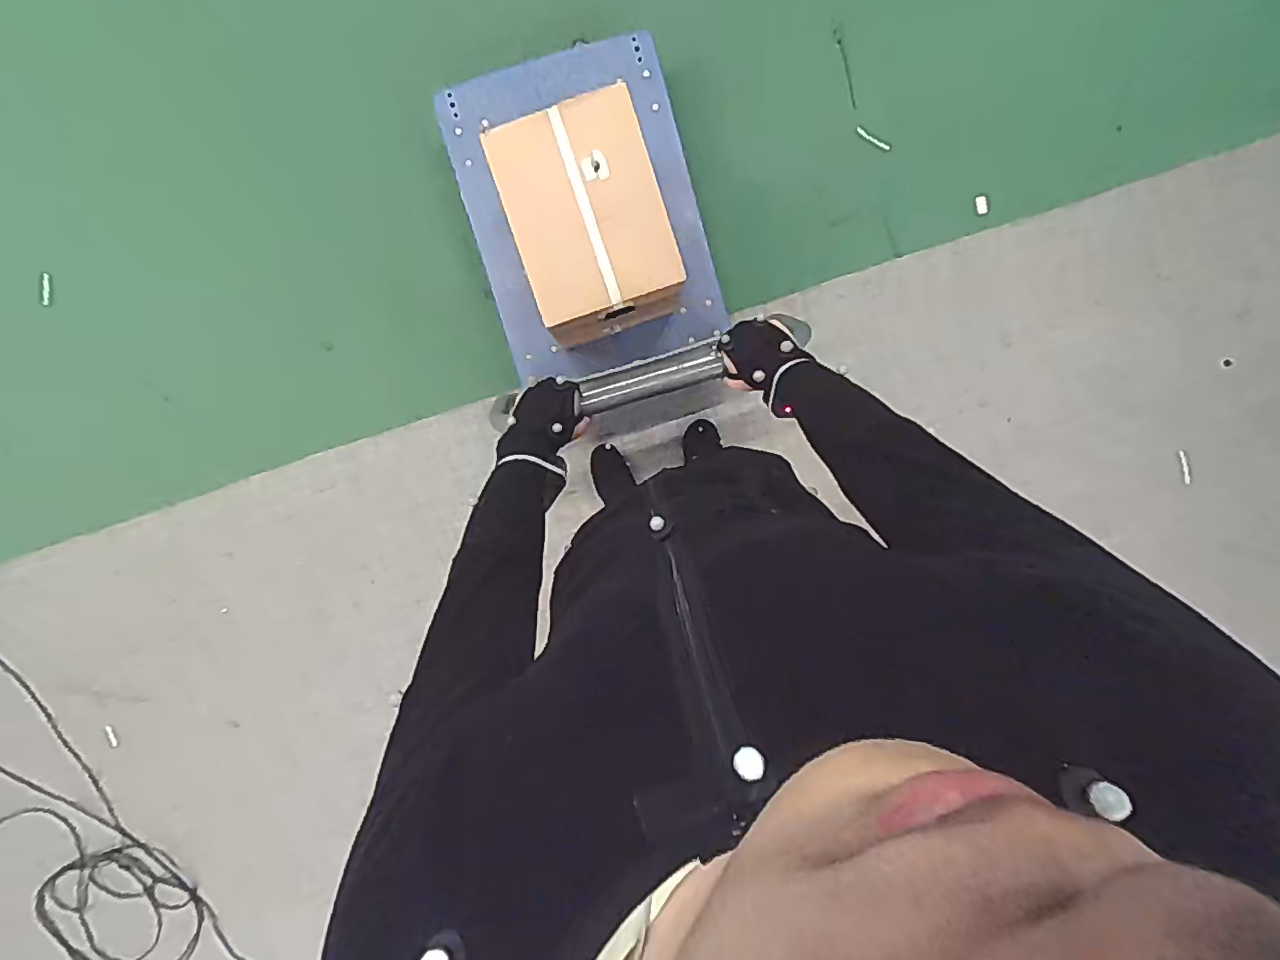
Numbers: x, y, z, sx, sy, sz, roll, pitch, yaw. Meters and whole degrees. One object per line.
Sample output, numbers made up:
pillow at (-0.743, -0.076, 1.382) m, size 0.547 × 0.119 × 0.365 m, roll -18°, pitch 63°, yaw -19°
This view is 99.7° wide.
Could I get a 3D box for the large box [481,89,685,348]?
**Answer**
large box at (-0.112, -0.565, 1.254) m, size 0.320 × 0.320 × 0.408 m, roll -19°, pitch 96°, yaw 1°
